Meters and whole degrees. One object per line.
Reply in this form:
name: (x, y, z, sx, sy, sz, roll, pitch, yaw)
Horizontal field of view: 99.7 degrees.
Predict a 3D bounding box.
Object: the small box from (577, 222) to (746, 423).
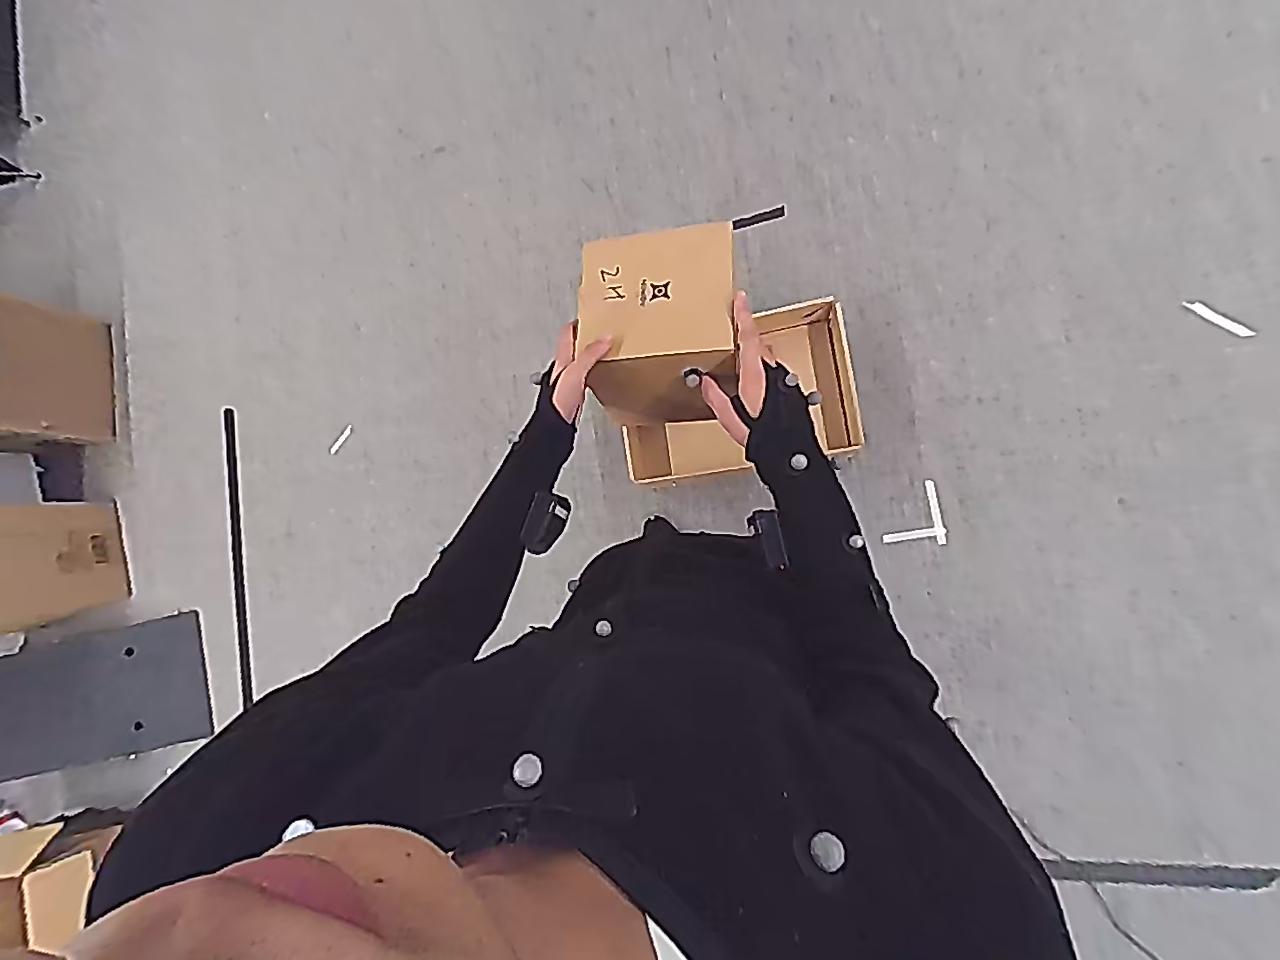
small box: (0.038, -0.179, 0.660, 0.179, 0.176, 0.168, -2, 72, 14)
